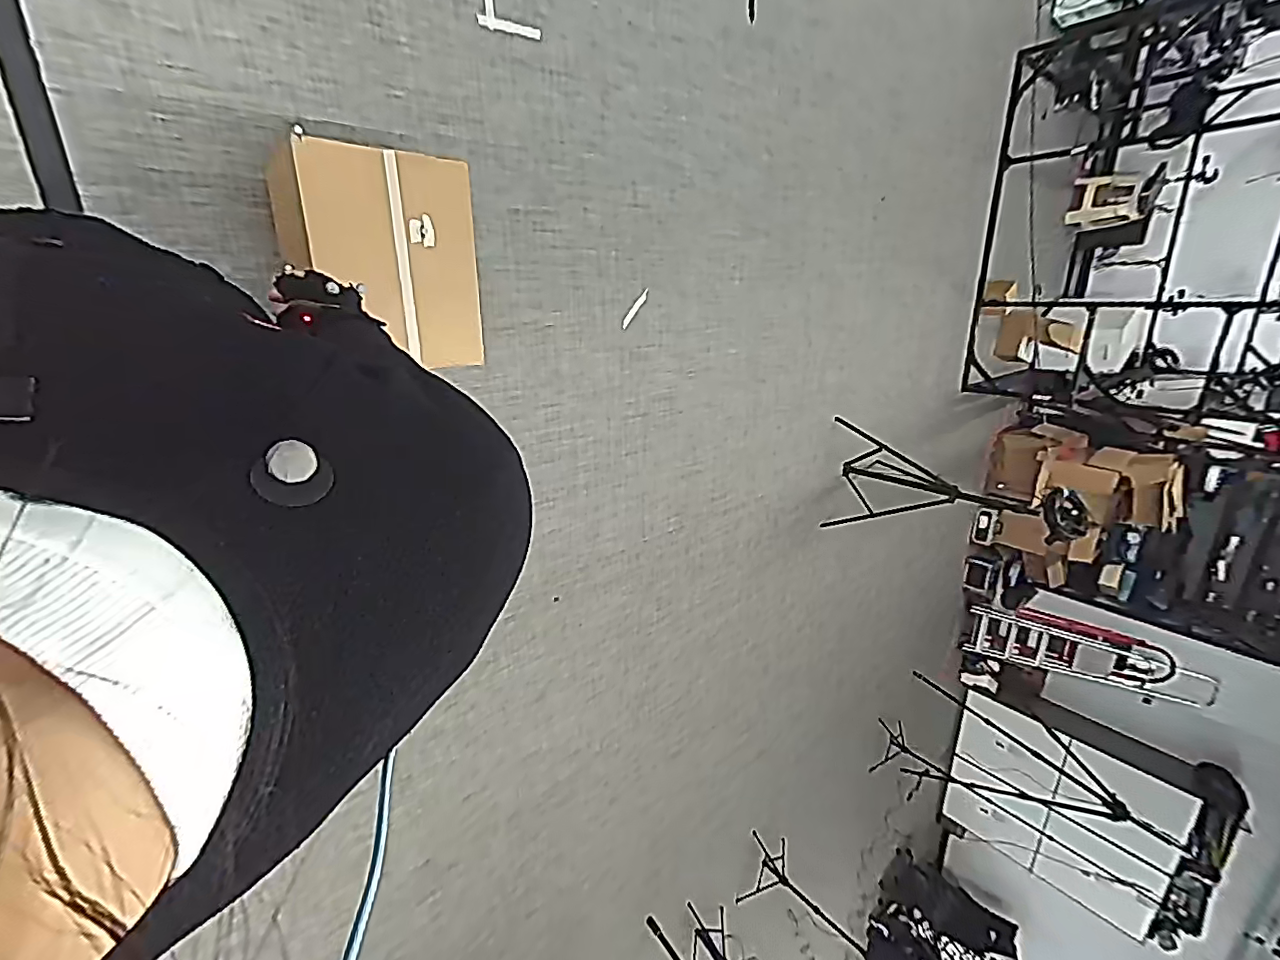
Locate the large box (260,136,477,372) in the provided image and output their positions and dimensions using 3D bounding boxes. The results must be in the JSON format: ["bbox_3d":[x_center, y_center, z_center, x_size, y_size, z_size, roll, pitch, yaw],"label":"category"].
[{"bbox_3d":[-0.584,-0.458,1.176,0.320,0.320,0.408,-16,112,-40],"label":"large box"}]
